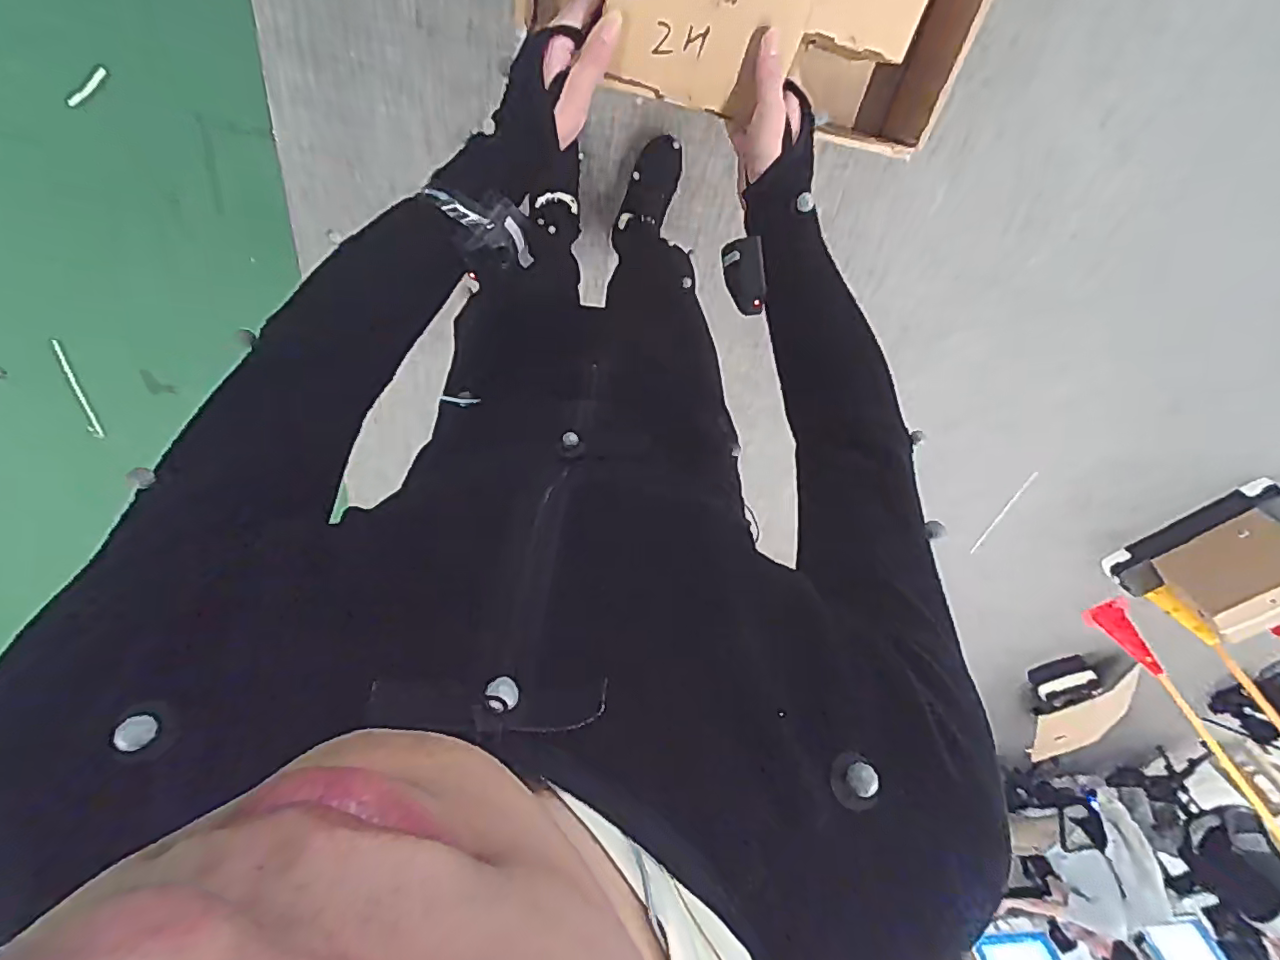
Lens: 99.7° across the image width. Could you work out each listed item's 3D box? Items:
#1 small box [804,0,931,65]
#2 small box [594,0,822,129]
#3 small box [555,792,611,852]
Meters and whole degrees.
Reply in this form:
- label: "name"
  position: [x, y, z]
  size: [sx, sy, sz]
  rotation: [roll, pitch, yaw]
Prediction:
- label: "small box"
  position: [0.288, -0.688, 0.723]
  size: [0.168, 0.176, 0.179]
  rotation: [6, 129, -13]
- label: "small box"
  position: [0.059, -0.452, 0.477]
  size: [0.168, 0.176, 0.179]
  rotation: [8, 133, -17]
- label: "small box"
  position: [-0.194, 1.152, 1.791]
  size: [0.168, 0.176, 0.179]
  rotation: [3, 130, -10]
